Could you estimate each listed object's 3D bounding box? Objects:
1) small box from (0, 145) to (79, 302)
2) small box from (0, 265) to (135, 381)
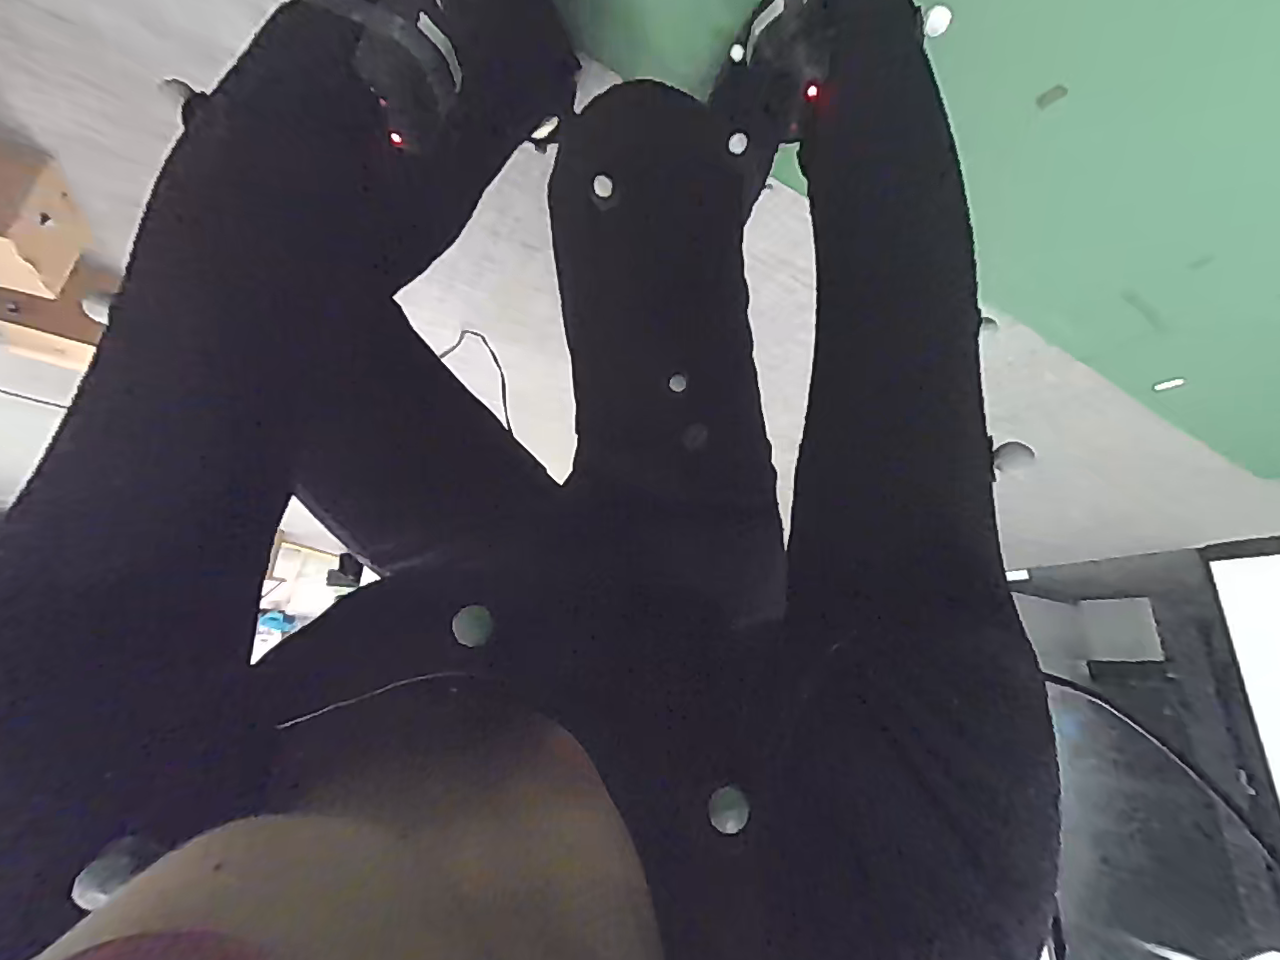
[{"bbox_3d":[-1.030,-0.415,0.837,0.179,0.176,0.168,14,158,-24],"label":"small box"},{"bbox_3d":[-1.178,-0.331,1.107,0.179,0.176,0.168,16,157,-31],"label":"small box"}]
